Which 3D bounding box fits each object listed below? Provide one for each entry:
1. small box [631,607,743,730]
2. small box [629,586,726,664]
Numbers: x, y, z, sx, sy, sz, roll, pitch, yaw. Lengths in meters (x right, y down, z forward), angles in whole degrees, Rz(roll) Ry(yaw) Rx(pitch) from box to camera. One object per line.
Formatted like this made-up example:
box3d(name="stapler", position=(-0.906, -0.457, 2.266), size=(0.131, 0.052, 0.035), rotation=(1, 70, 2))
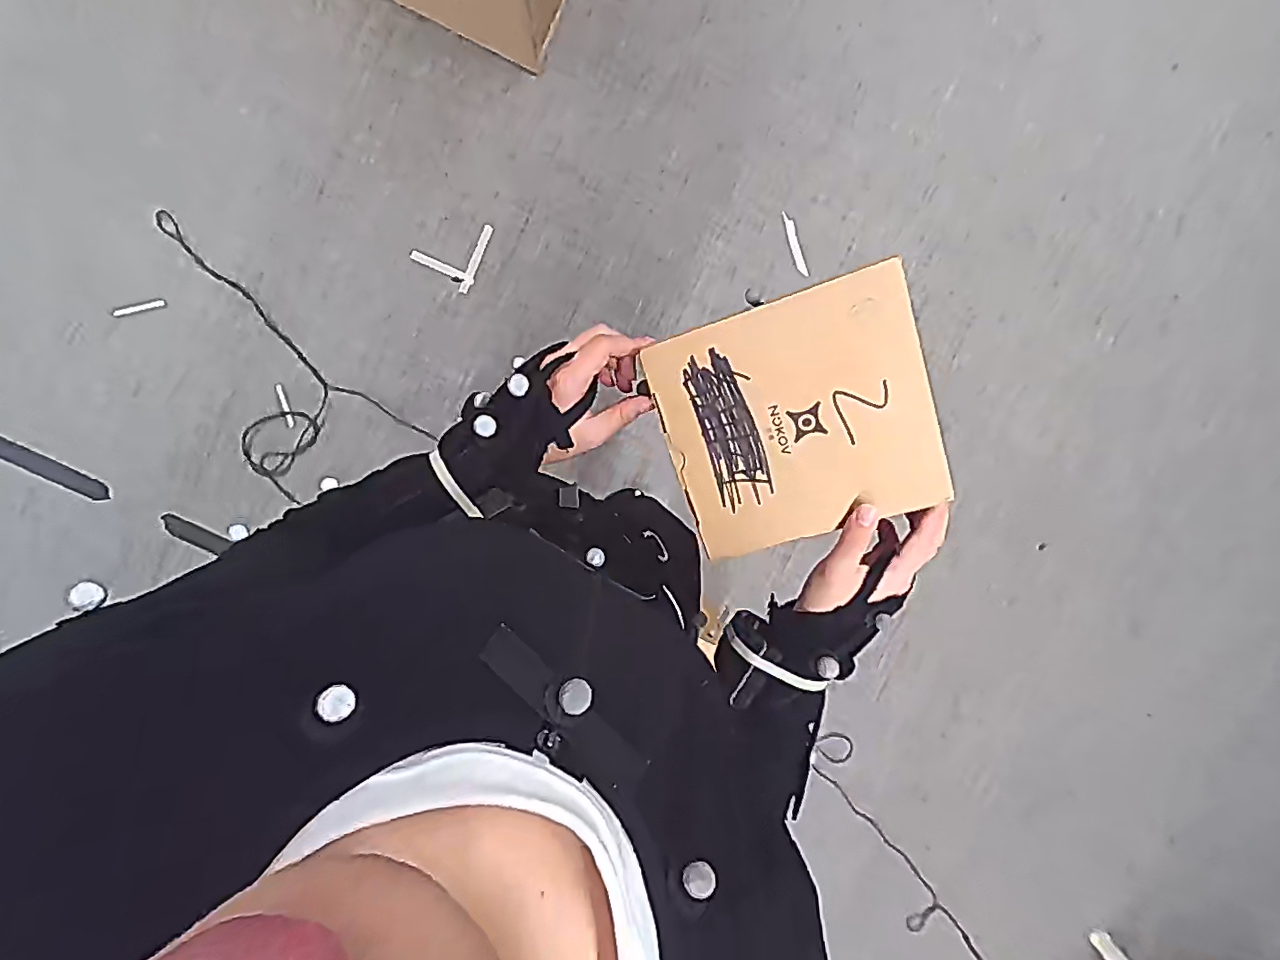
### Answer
box3d(name="small box", position=(0.093, 0.394, 1.163), size=(0.179, 0.176, 0.168), rotation=(24, 92, -4))
box3d(name="small box", position=(0.084, 0.381, 1.327), size=(0.179, 0.176, 0.168), rotation=(25, 92, -4))
